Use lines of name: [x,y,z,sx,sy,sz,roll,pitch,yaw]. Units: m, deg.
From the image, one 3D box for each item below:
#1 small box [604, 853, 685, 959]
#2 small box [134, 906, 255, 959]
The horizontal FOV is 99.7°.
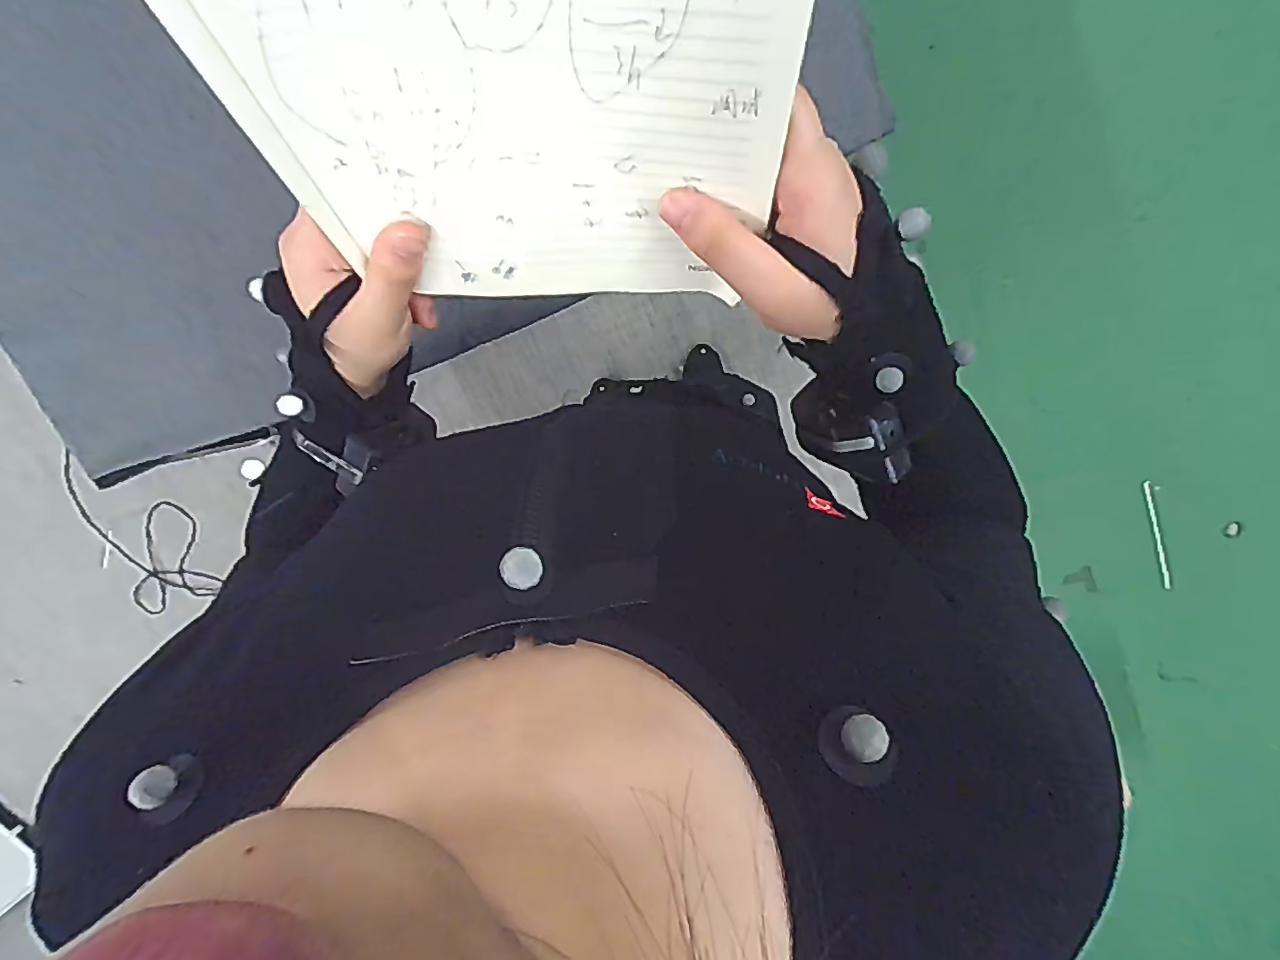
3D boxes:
small box: [0.018,1.175,1.495,0.179,0.176,0.168,-19,99,9]
small box: [-1.074,1.162,1.280,0.179,0.176,0.168,-19,102,10]
